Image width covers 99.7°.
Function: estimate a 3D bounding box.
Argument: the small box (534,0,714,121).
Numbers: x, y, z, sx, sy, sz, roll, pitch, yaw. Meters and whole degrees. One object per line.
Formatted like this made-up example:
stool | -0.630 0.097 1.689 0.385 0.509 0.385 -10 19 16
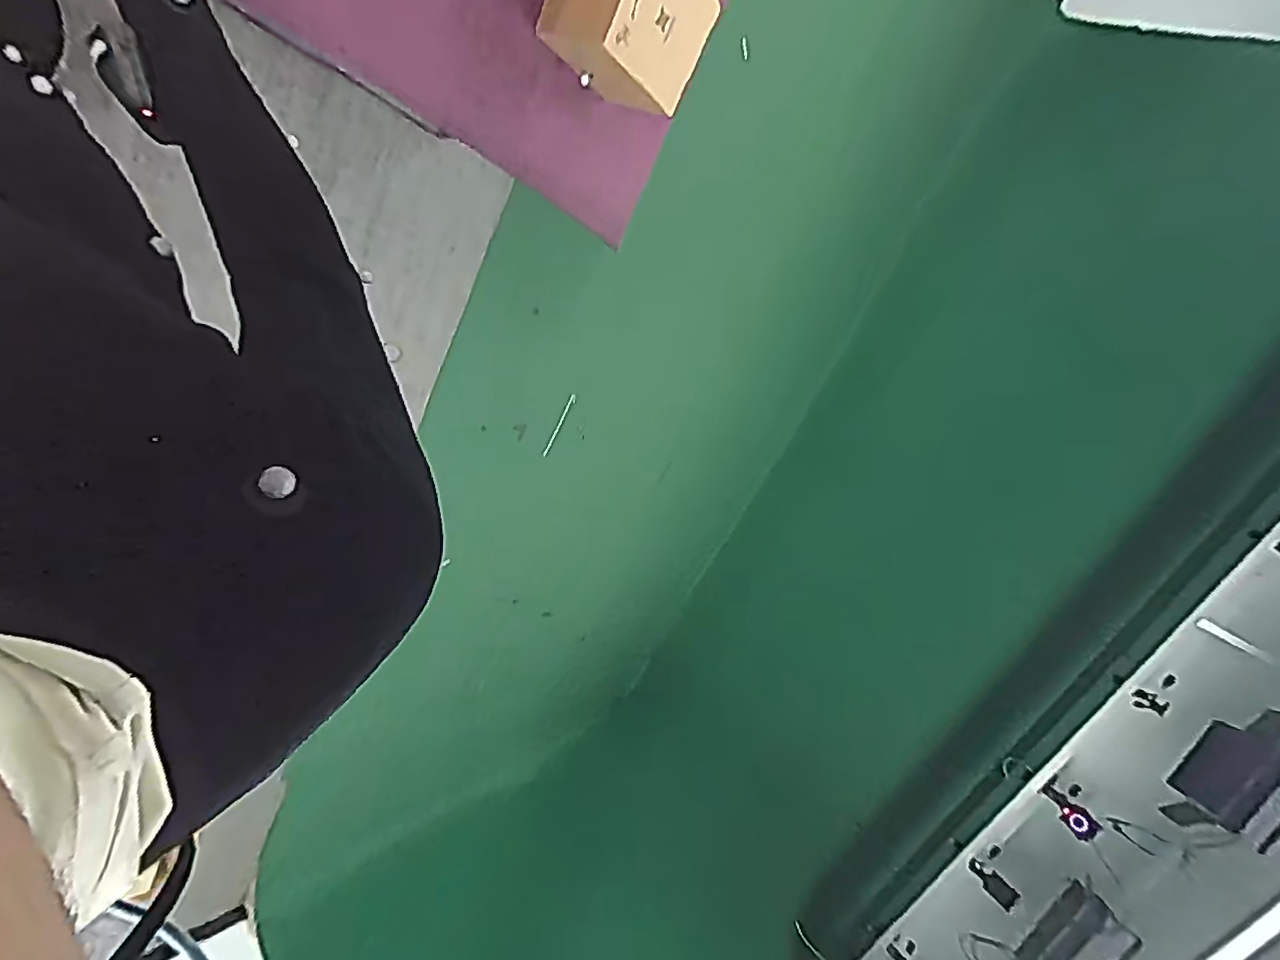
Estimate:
small box | -0.025 -0.694 0.823 0.179 0.176 0.168 3 119 -55
